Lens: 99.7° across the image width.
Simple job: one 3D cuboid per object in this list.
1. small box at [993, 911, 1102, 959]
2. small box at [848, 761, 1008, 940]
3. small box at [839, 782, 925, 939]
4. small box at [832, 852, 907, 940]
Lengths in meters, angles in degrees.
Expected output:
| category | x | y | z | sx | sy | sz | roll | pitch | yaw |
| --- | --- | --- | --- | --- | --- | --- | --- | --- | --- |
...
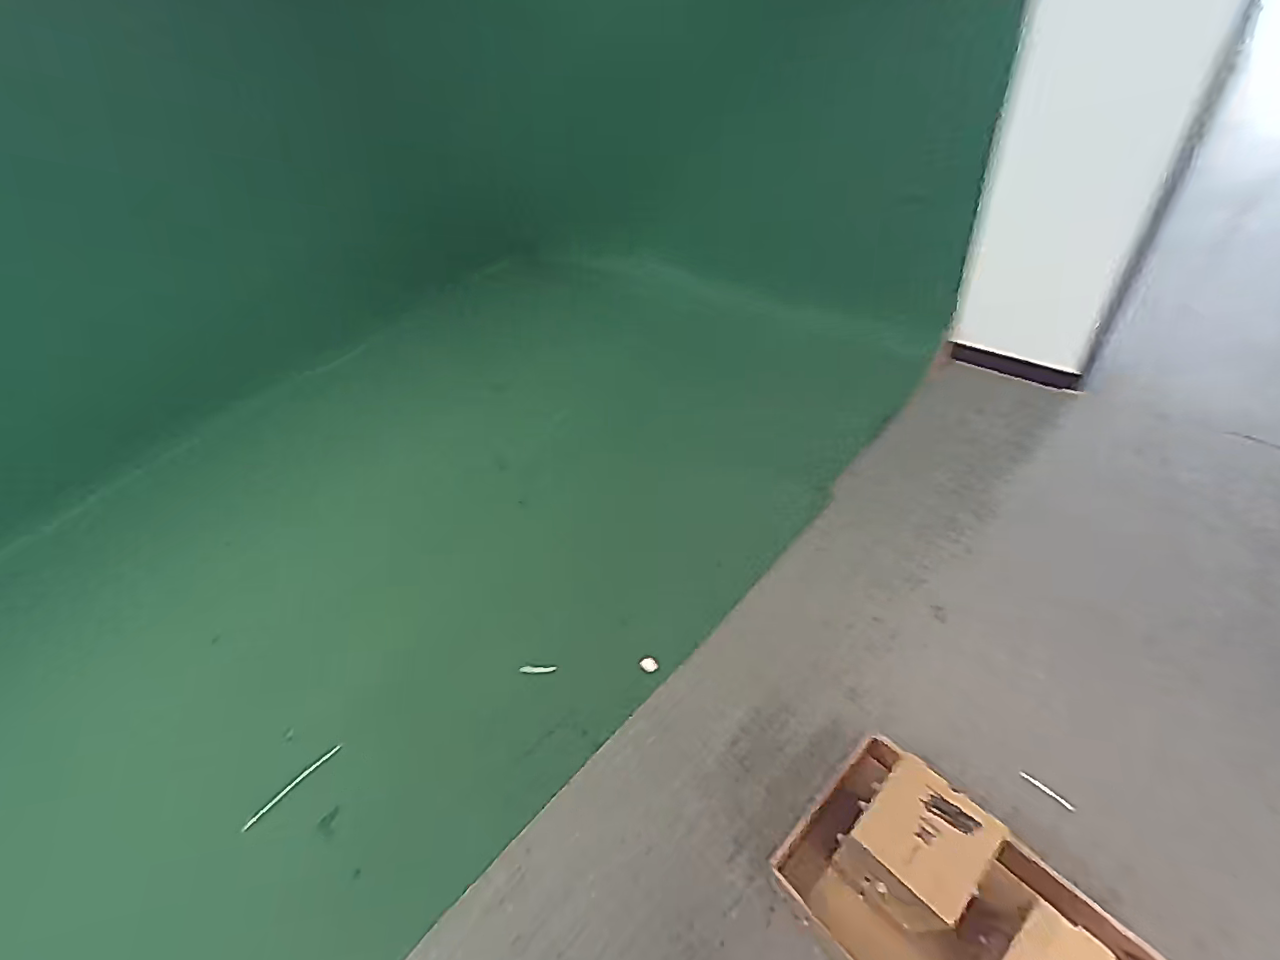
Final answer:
| category | x | y | z | sx | sy | sz | roll | pitch | yaw |
| --- | --- | --- | --- | --- | --- | --- | --- | --- | --- |
| small box | 0.667 | 0.845 | 0.864 | 0.179 | 0.176 | 0.168 | -39 | 48 | -20 |
| small box | 0.466 | 0.617 | 0.904 | 0.179 | 0.176 | 0.168 | -40 | 51 | -20 |
| small box | 0.496 | 0.724 | 1.026 | 0.179 | 0.176 | 0.168 | -40 | 51 | -21 |
| small box | 0.526 | 0.829 | 1.145 | 0.179 | 0.176 | 0.168 | -39 | 50 | -20 |
